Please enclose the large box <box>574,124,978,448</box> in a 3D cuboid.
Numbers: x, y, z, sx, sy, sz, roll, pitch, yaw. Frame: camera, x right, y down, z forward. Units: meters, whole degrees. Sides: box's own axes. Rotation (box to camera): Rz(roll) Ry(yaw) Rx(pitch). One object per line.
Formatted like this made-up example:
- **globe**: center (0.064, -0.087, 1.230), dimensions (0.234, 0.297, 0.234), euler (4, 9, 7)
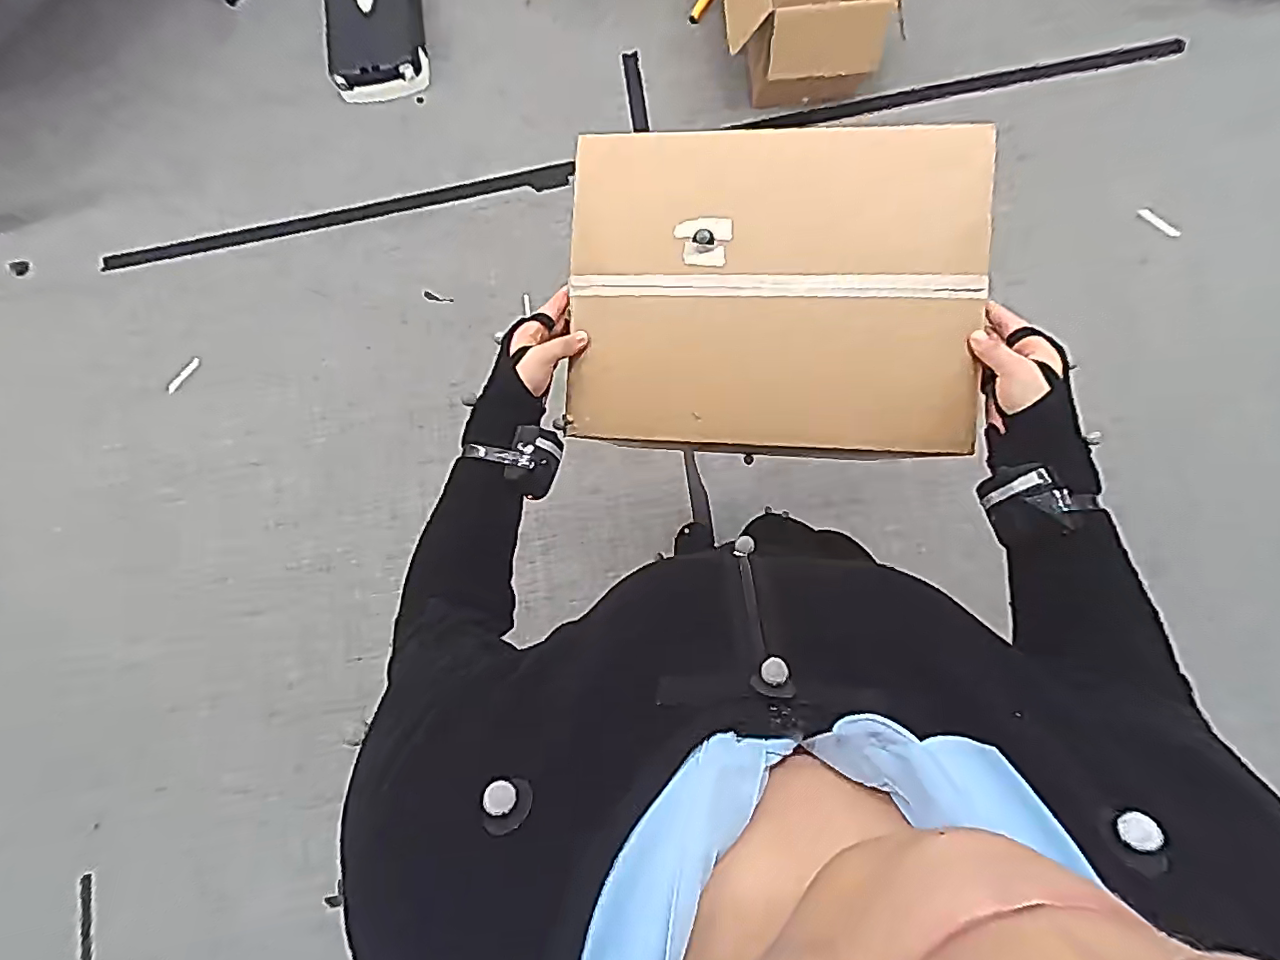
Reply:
- **large box**: center (0.151, -0.200, 0.700), dimensions (0.408, 0.320, 0.320), euler (2, 90, 8)
